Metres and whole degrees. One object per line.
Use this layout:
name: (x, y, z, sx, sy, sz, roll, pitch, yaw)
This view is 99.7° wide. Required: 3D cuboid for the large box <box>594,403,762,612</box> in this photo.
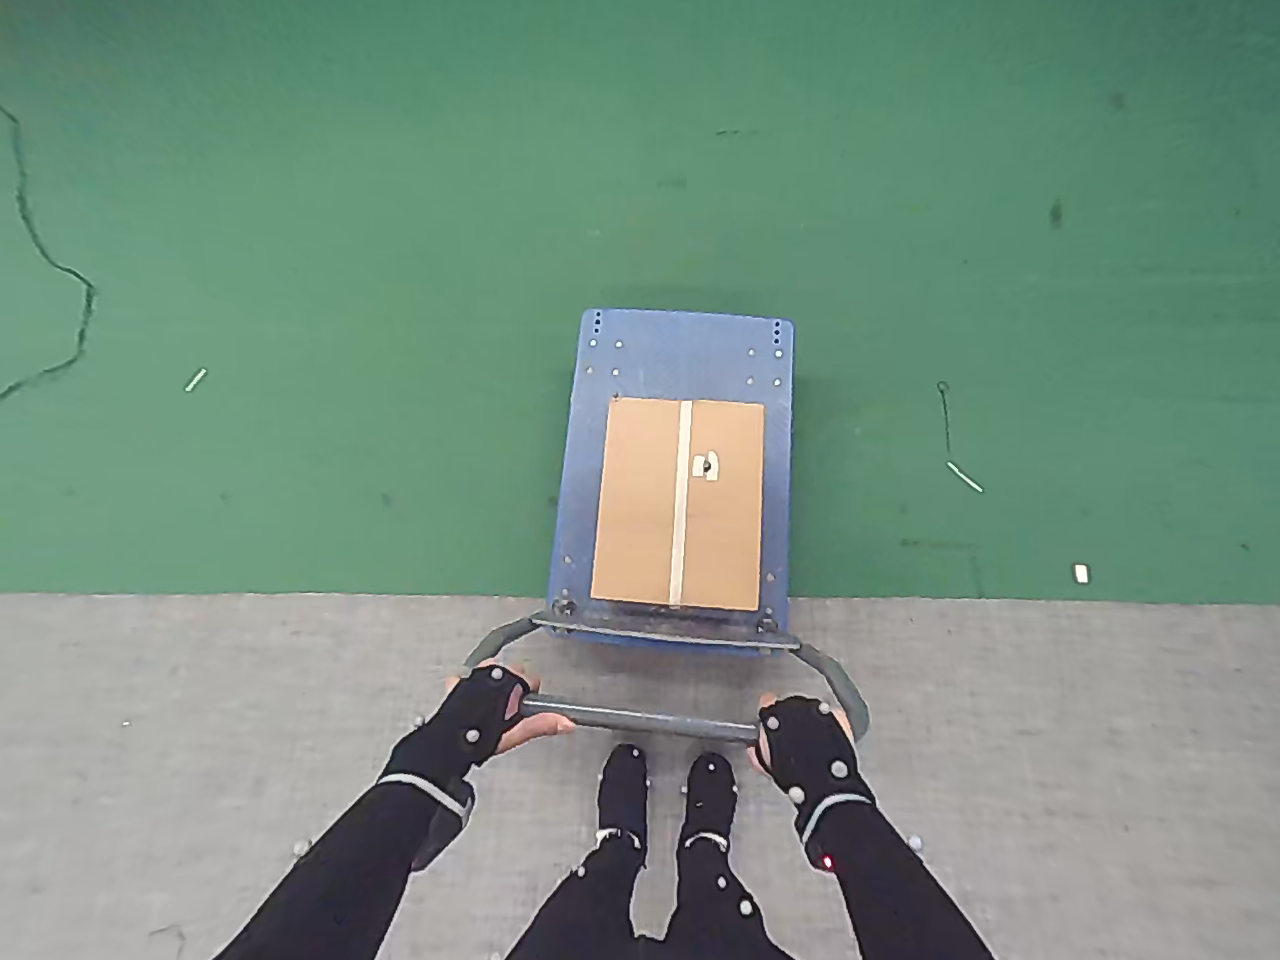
large box: (0.088, 0.079, 1.191, 0.320, 0.320, 0.408, 4, 77, 4)
